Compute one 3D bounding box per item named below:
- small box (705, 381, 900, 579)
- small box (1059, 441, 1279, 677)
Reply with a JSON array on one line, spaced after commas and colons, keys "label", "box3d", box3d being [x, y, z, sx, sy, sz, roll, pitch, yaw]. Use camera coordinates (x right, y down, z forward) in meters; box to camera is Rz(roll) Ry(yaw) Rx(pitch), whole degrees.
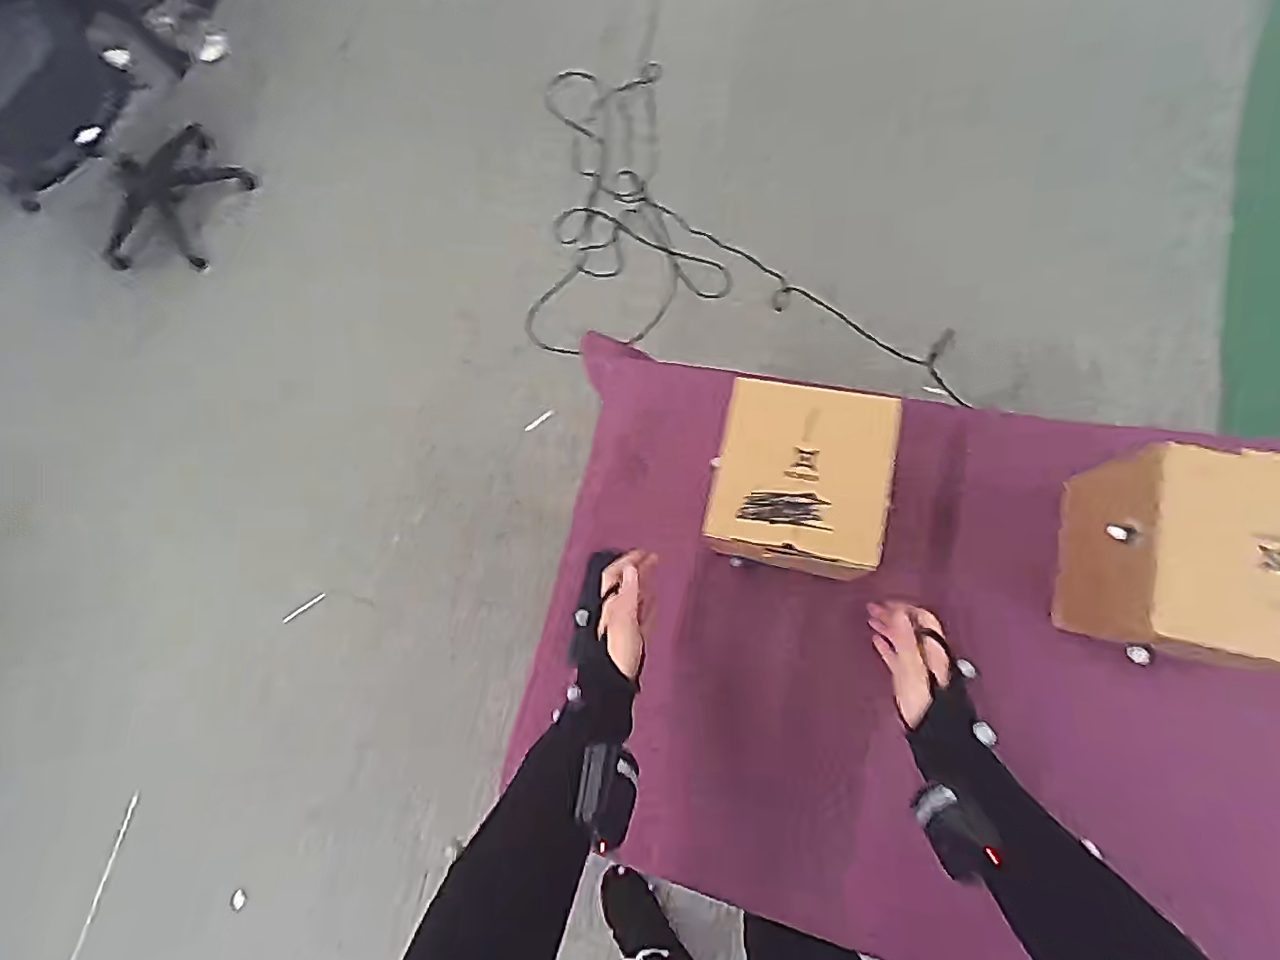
[{"label": "small box", "box3d": [0.179, 0.009, 0.616, 0.168, 0.176, 0.179, 10, 78, 15]}, {"label": "small box", "box3d": [0.544, 0.082, 0.522, 0.168, 0.176, 0.179, 12, 79, 15]}]
